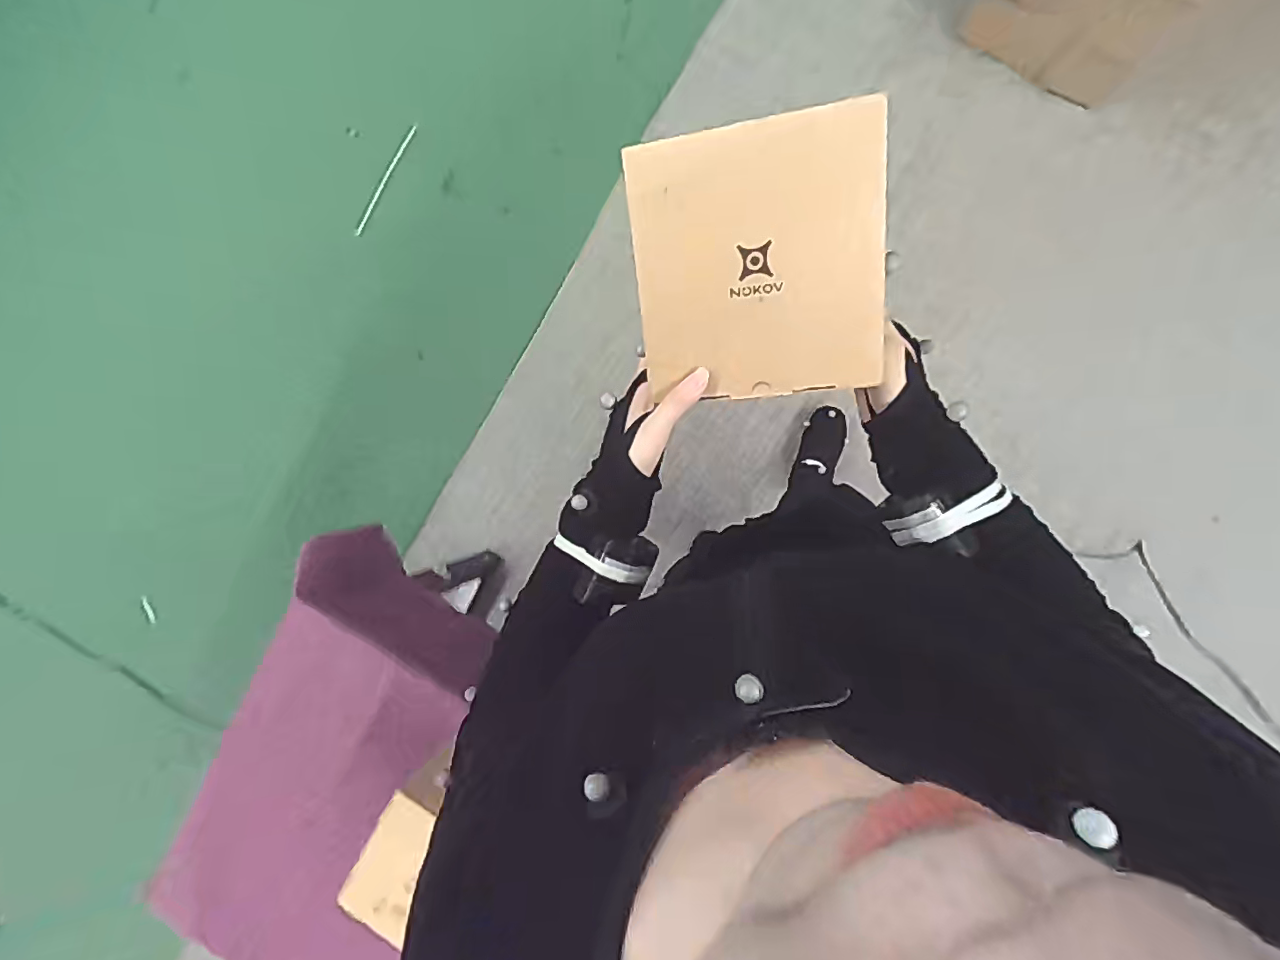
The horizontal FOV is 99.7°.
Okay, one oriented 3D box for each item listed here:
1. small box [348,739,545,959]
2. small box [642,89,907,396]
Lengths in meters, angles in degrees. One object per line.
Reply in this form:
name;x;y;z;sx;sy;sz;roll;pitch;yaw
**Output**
small box;-0.250;0.502;0.748;0.168;0.176;0.179;29;95;7
small box;0.104;-0.174;0.437;0.168;0.176;0.179;-2;110;14
